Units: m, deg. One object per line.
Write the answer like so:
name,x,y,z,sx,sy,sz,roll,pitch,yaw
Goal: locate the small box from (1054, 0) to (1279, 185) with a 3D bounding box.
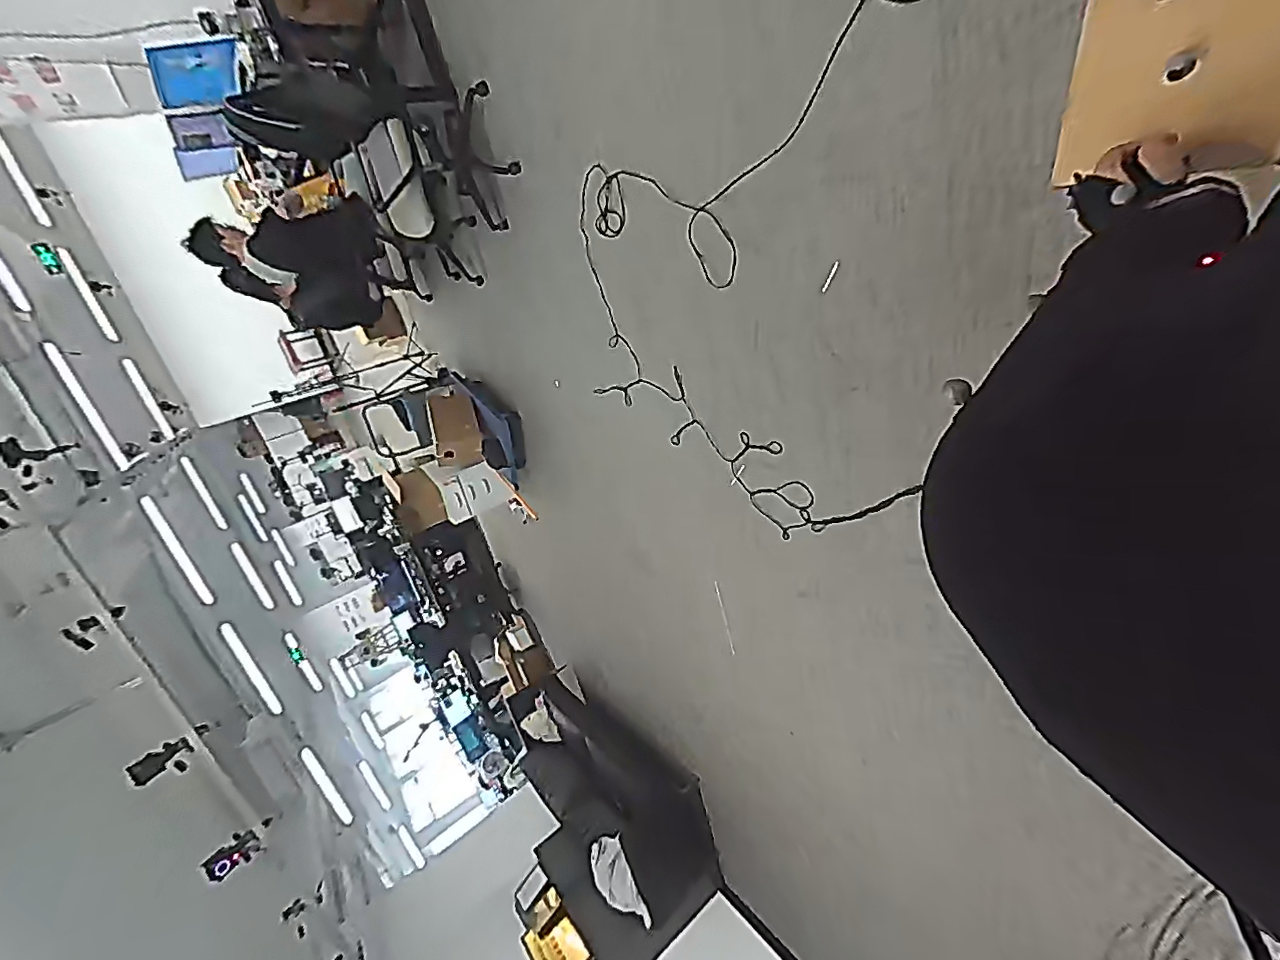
small box,0.540,-0.396,0.523,0.168,0.179,0.176,23,128,47
